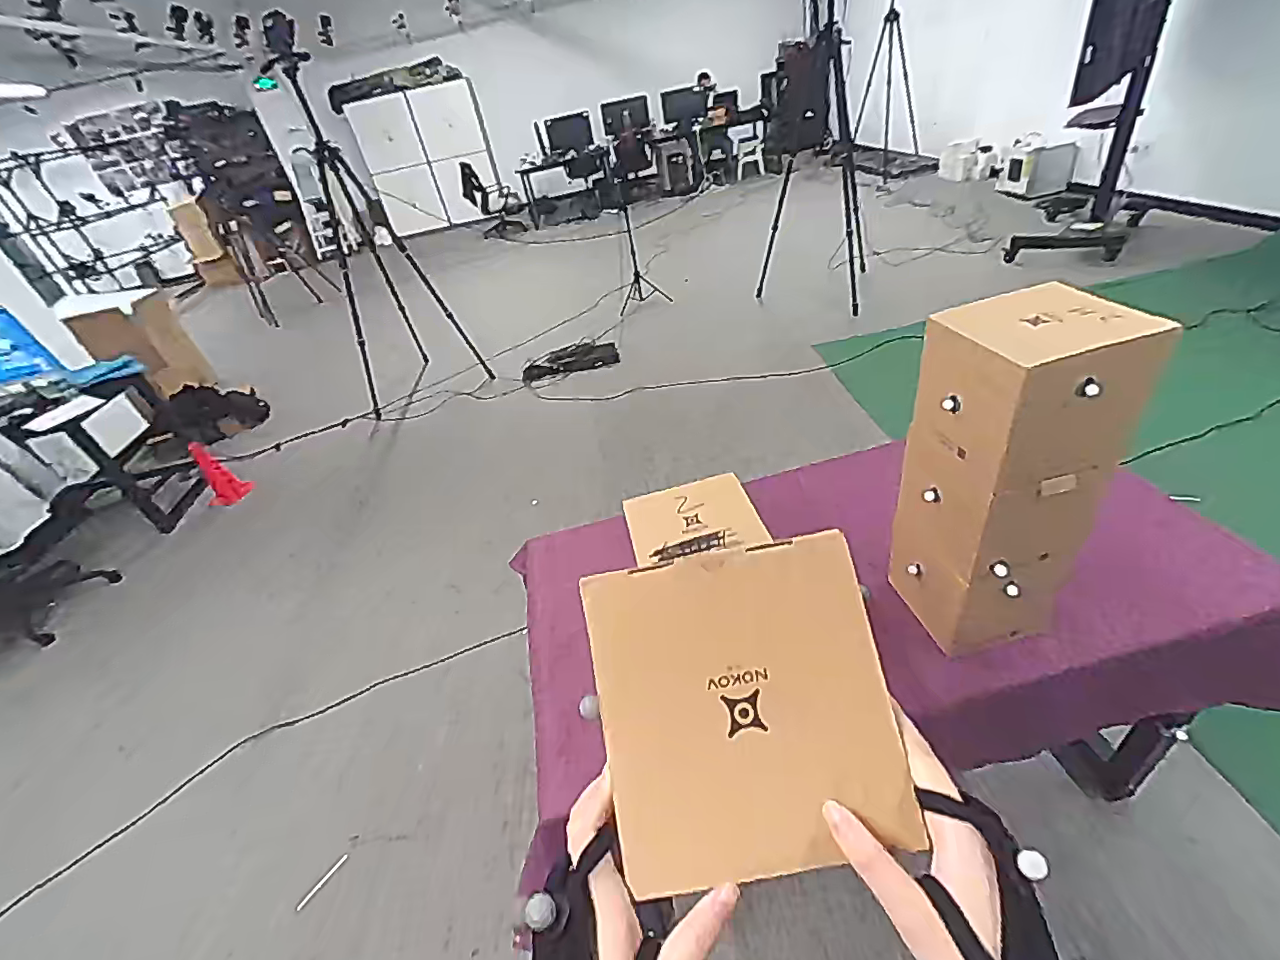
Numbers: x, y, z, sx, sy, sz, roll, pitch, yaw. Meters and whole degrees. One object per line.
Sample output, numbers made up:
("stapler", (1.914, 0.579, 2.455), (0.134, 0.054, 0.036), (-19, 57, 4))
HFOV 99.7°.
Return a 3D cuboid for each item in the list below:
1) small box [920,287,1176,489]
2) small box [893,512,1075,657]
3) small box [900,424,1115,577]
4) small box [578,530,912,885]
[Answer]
("small box", (0.467, -0.110, 0.658), (0.179, 0.176, 0.168), (-15, 38, -2))
("small box", (0.525, 0.145, 0.857), (0.168, 0.176, 0.179), (-16, 36, -2))
("small box", (0.495, 0.016, 0.761), (0.168, 0.176, 0.179), (-15, 36, -3))
("small box", (0.061, 0.145, 0.393), (0.168, 0.176, 0.179), (-11, 76, 1))
